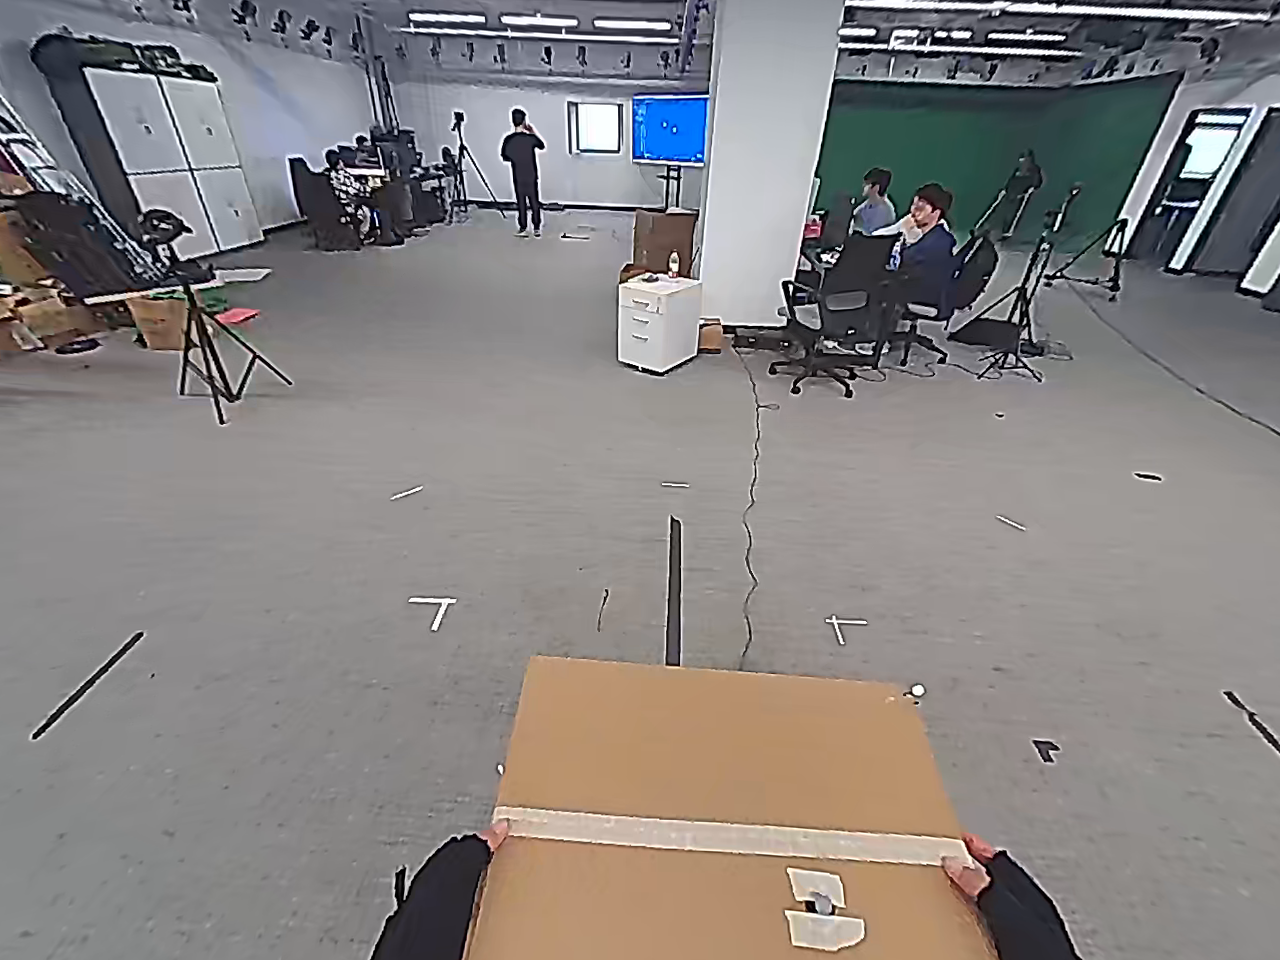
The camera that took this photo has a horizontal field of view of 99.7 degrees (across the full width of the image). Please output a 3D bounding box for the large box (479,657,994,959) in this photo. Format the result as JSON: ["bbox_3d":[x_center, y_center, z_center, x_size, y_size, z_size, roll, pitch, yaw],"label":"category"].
[{"bbox_3d":[0.071,0.419,0.573,0.408,0.320,0.320,5,42,0],"label":"large box"}]
